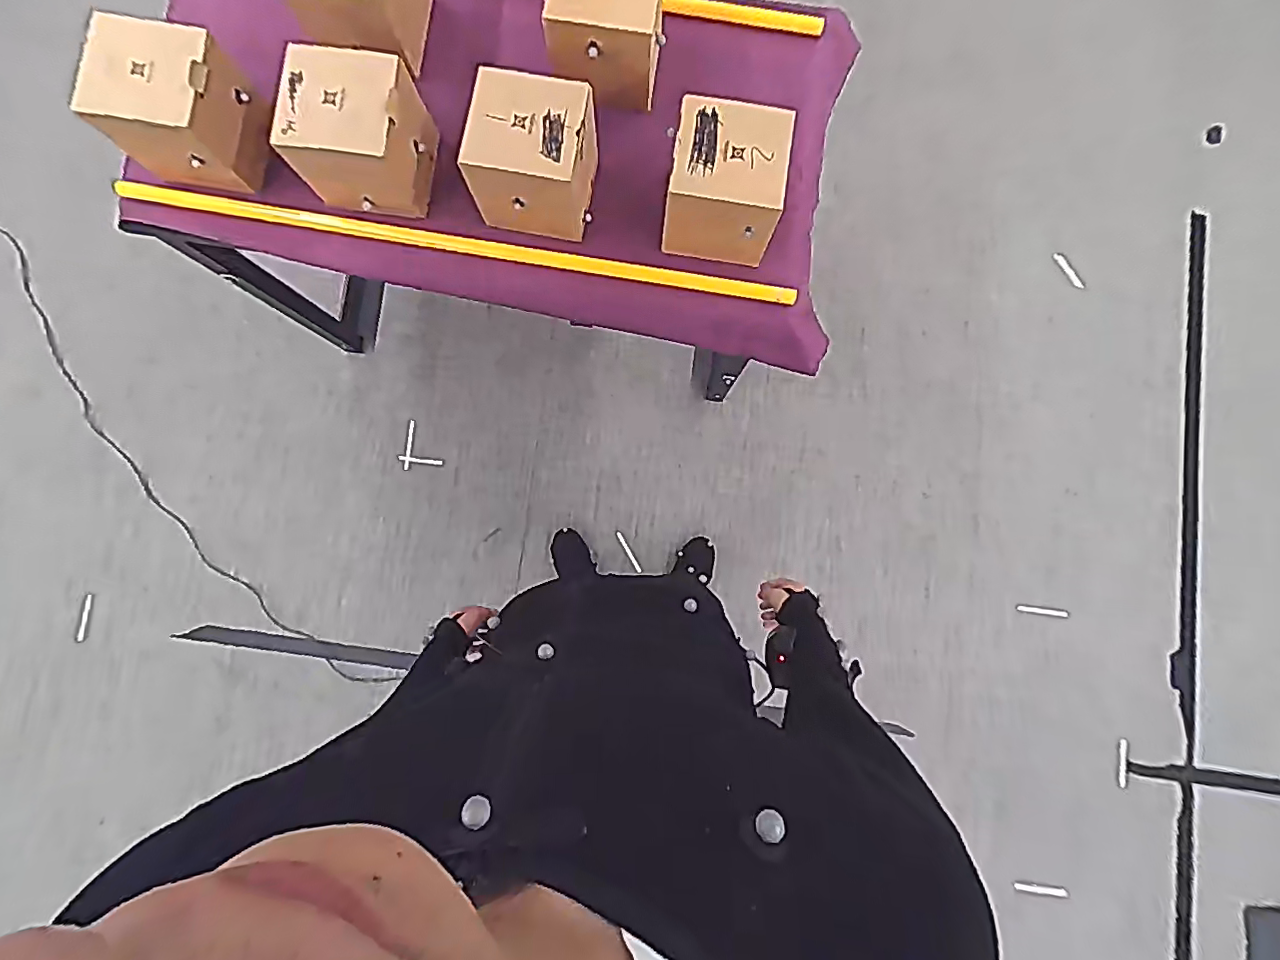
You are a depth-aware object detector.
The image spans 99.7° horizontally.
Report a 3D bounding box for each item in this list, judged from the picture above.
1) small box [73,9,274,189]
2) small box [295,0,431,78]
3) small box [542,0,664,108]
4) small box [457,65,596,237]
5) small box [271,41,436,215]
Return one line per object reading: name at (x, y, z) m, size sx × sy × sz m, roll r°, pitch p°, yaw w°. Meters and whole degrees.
small box at (-0.749, -0.612, 0.891) m, size 0.179 × 0.176 × 0.168 m, roll 8°, pitch 85°, yaw -2°
small box at (-0.473, -0.837, 0.915) m, size 0.168 × 0.176 × 0.179 m, roll 9°, pitch 87°, yaw 0°
small box at (-0.054, -0.774, 0.916) m, size 0.179 × 0.176 × 0.168 m, roll 9°, pitch 86°, yaw 1°
small box at (-0.175, -0.529, 0.893) m, size 0.179 × 0.176 × 0.168 m, roll 10°, pitch 84°, yaw 1°
small box at (-0.458, -0.566, 0.893) m, size 0.179 × 0.176 × 0.168 m, roll 7°, pitch 85°, yaw -1°
